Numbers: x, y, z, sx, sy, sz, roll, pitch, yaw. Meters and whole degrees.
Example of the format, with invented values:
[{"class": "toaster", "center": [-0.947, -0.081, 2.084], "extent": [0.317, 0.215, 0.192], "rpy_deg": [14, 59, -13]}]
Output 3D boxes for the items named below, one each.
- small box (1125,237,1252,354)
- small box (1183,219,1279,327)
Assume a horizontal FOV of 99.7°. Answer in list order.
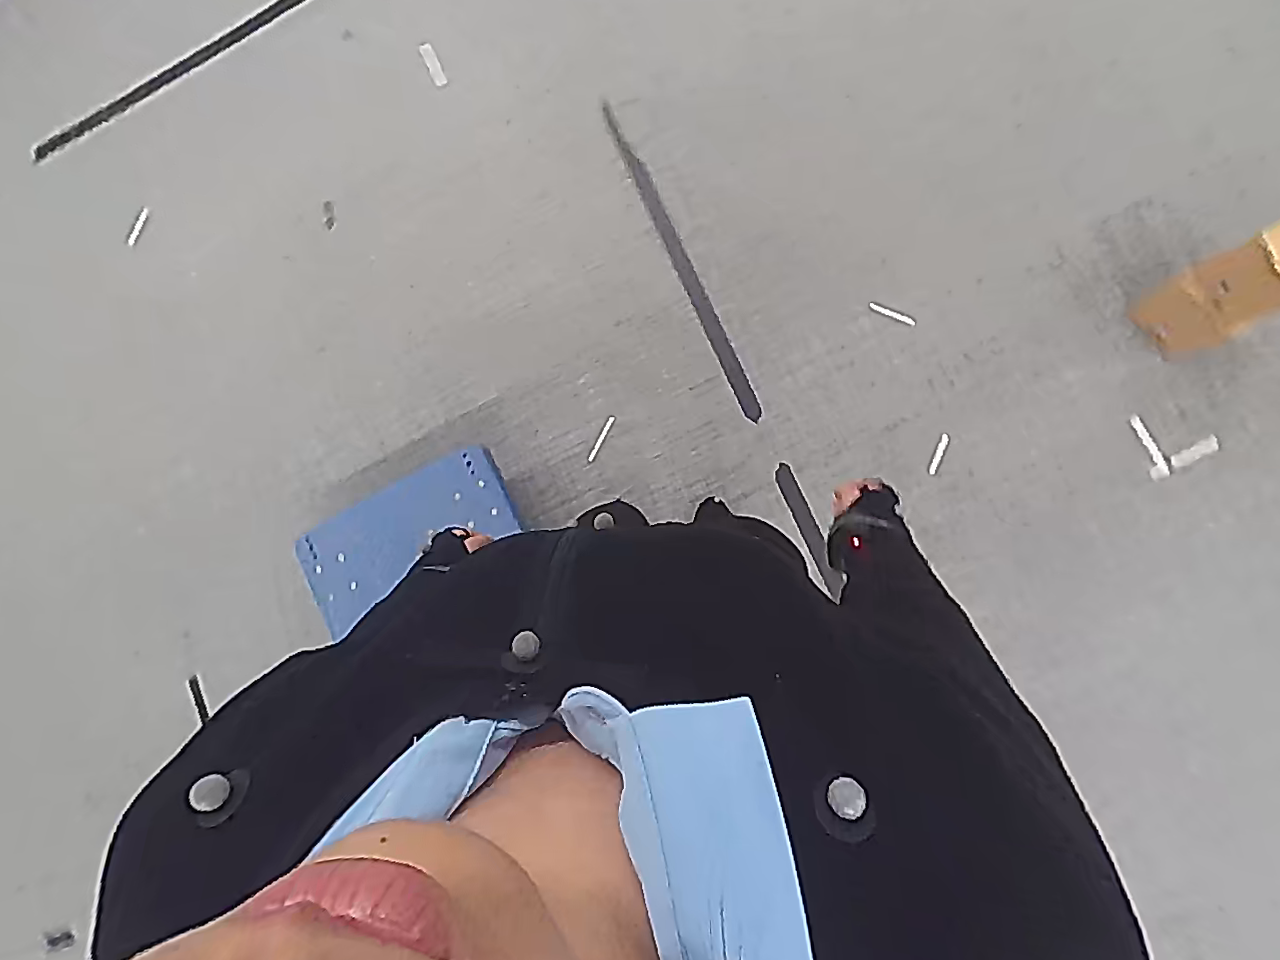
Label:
[{"class": "small box", "center": [1.354, -0.437, 1.308], "extent": [0.179, 0.176, 0.168], "rpy_deg": [-38, 83, 3]}, {"class": "small box", "center": [1.340, -0.455, 1.147], "extent": [0.179, 0.176, 0.168], "rpy_deg": [-25, 84, 4]}]
